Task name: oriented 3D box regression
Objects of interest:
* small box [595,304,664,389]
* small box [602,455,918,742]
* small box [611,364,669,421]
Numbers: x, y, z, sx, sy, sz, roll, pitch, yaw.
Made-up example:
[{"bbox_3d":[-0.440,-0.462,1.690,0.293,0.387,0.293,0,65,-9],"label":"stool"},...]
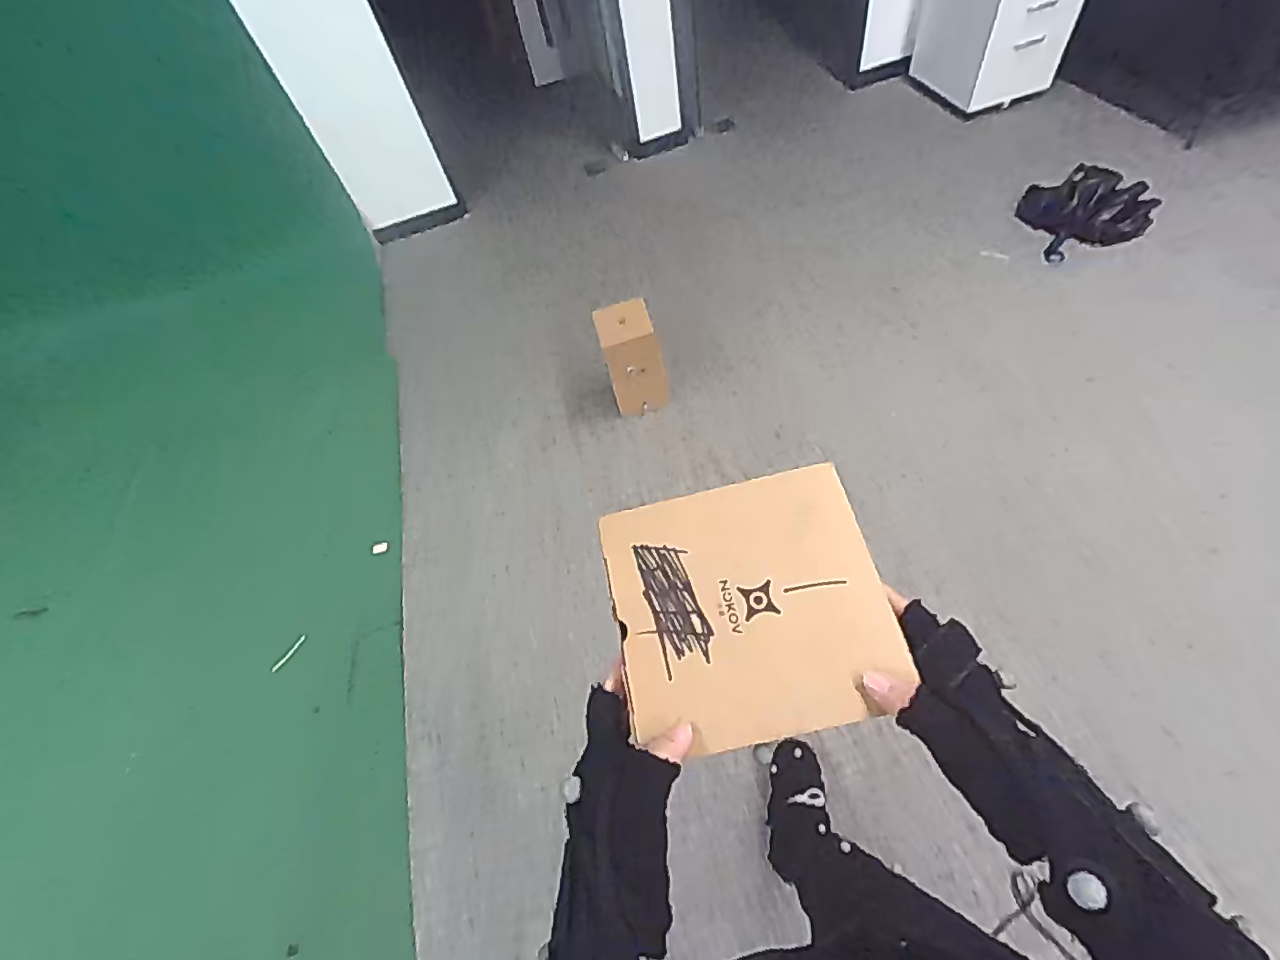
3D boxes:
[{"bbox_3d":[-0.032,-0.421,1.716,0.168,0.176,0.179,-17,55,2],"label":"small box"},{"bbox_3d":[0.082,0.106,0.435,0.179,0.176,0.168,-14,64,2],"label":"small box"},{"bbox_3d":[-0.001,-0.327,1.845,0.179,0.176,0.168,-15,54,1],"label":"small box"}]
